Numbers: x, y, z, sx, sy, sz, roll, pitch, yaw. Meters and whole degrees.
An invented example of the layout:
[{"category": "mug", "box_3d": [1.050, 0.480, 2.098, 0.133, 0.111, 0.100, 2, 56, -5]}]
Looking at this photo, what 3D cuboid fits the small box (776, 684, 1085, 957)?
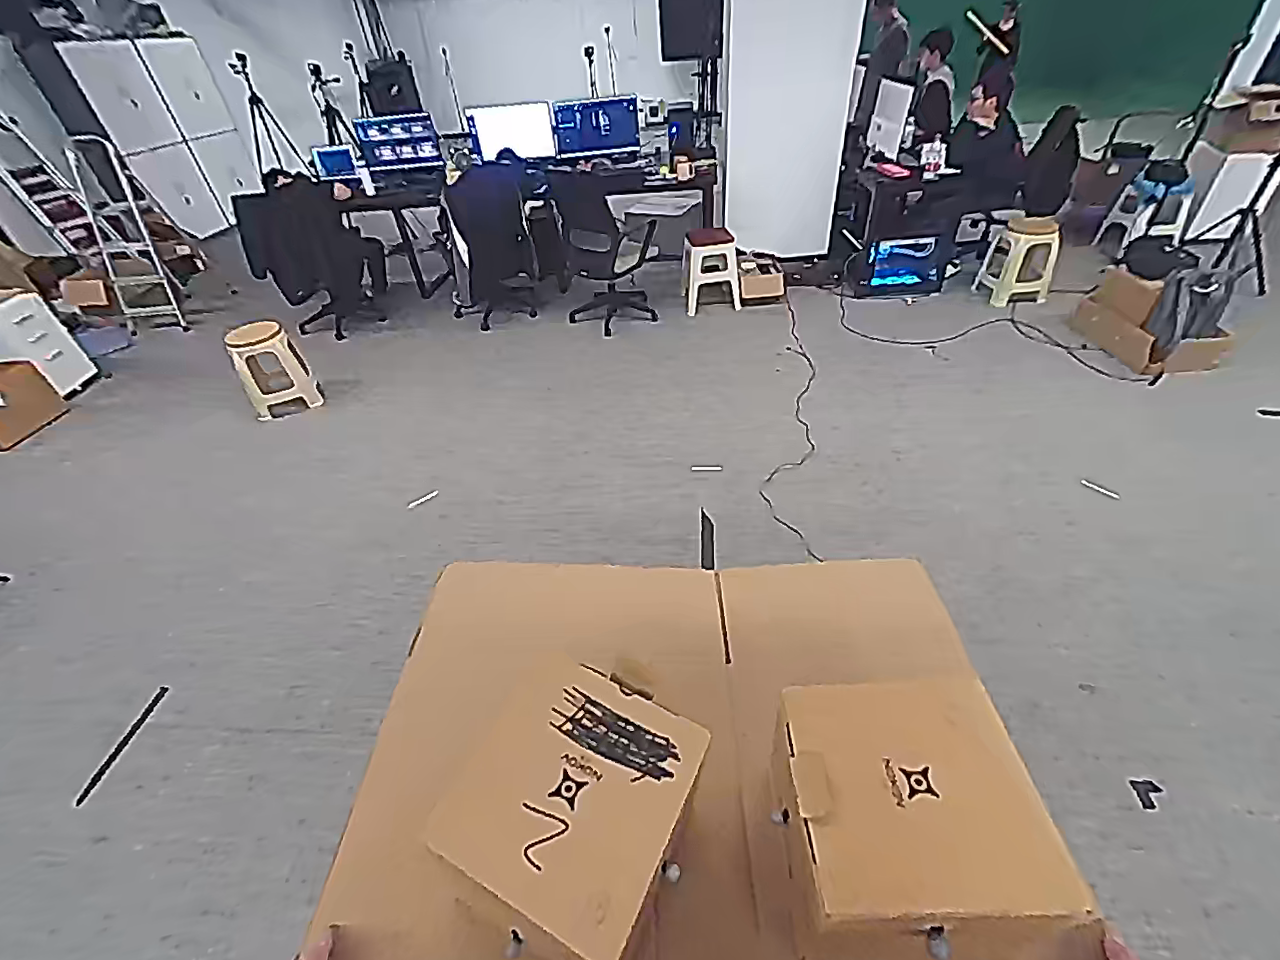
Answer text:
[{"category": "small box", "box_3d": [0.226, 0.302, 0.483, 0.179, 0.176, 0.168, -5, 40, 5]}]
